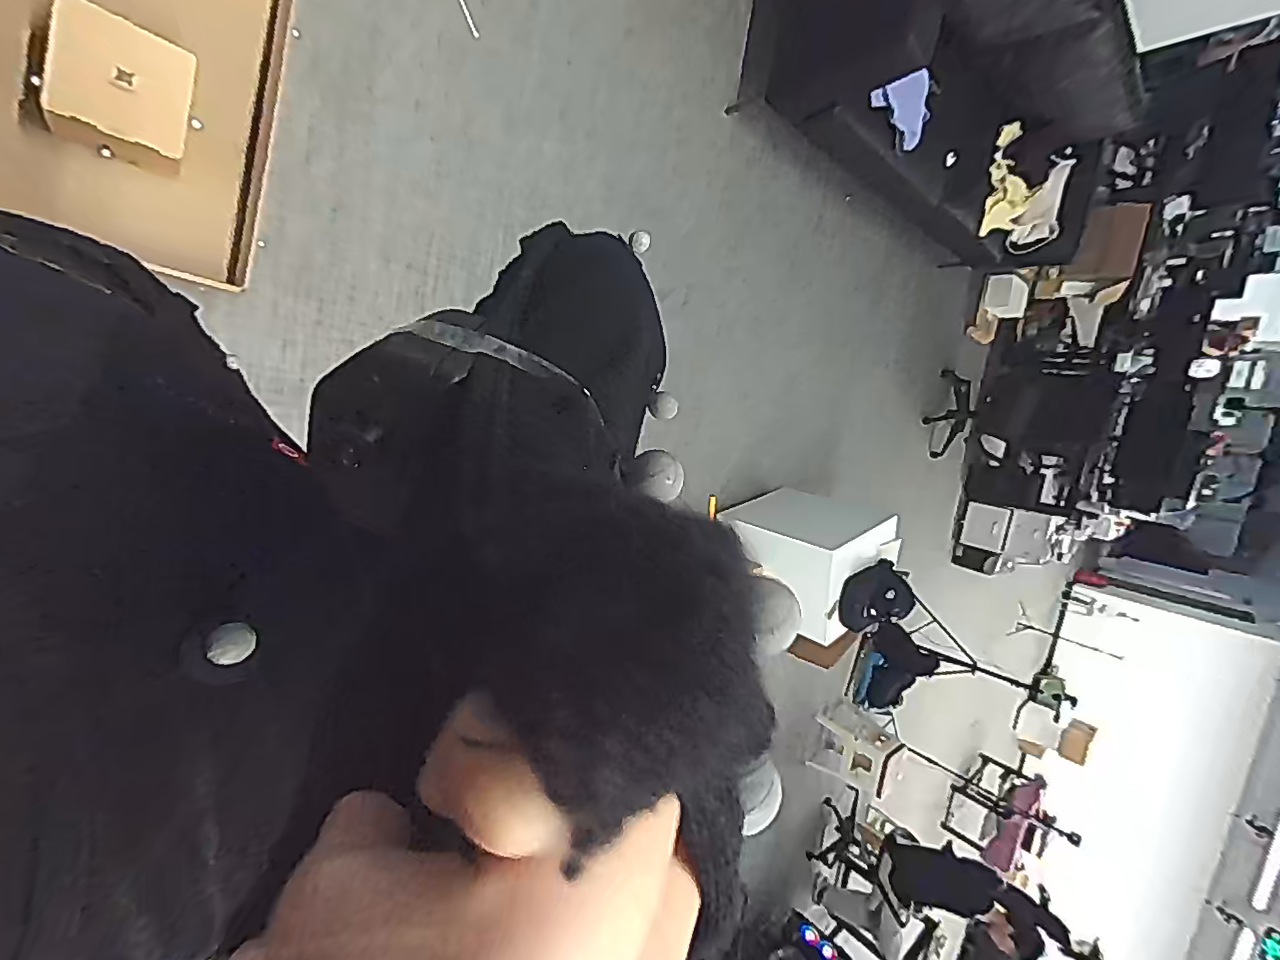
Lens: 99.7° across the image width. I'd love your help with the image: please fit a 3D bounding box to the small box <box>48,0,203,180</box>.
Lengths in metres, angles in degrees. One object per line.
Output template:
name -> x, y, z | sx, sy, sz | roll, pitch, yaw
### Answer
small box -> -0.865, -0.645, 0.915 | 0.168, 0.176, 0.179 | 8, 96, -44
